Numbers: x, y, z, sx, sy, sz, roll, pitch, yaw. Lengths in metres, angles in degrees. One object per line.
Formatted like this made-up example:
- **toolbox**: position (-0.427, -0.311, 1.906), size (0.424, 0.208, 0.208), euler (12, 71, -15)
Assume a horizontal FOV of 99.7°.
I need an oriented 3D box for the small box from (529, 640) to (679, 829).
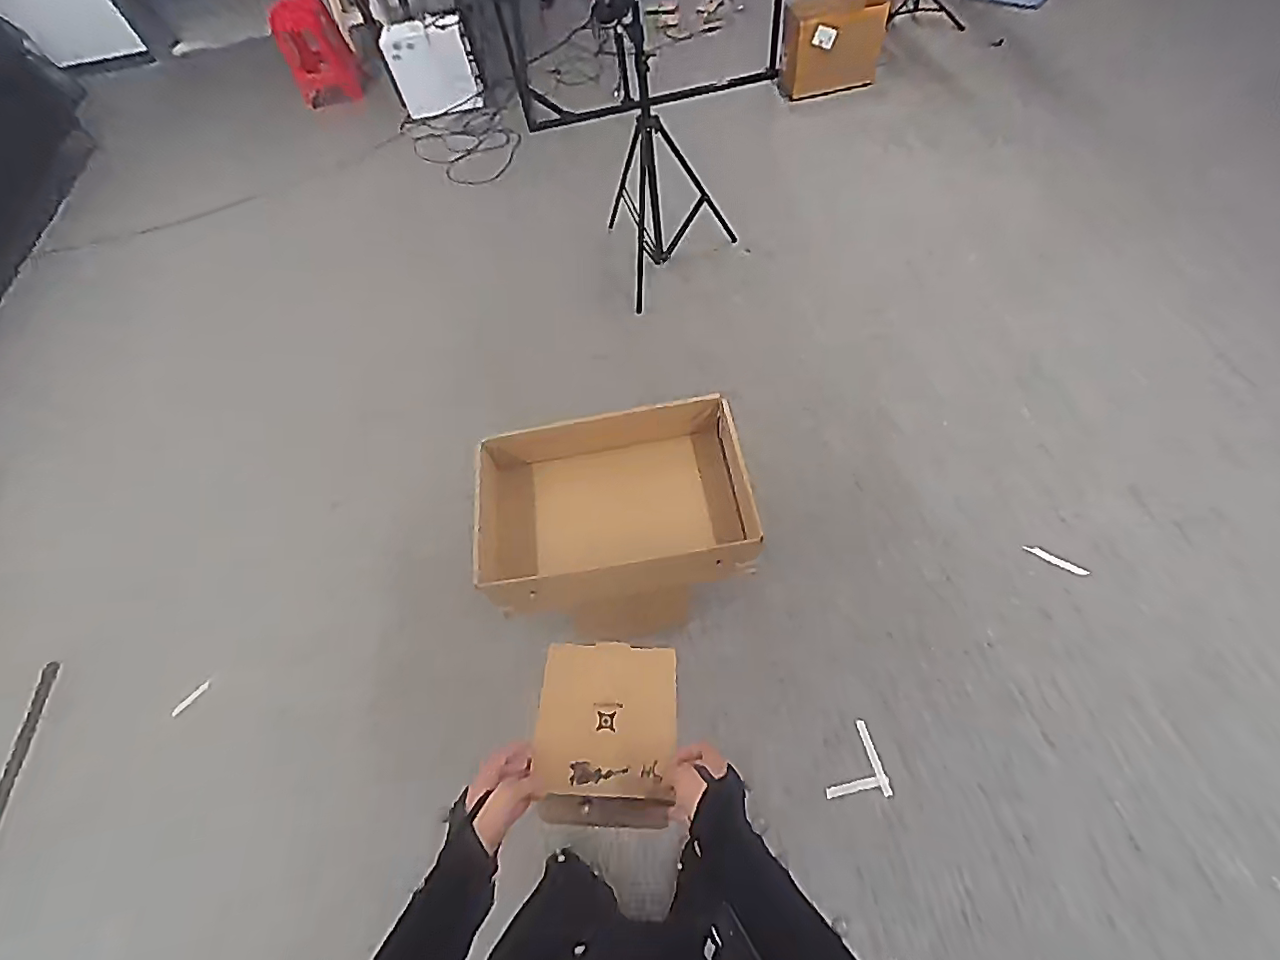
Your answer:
- **small box**: position (-0.040, 0.332, 0.704), size (0.168, 0.176, 0.179), euler (3, 48, 1)
